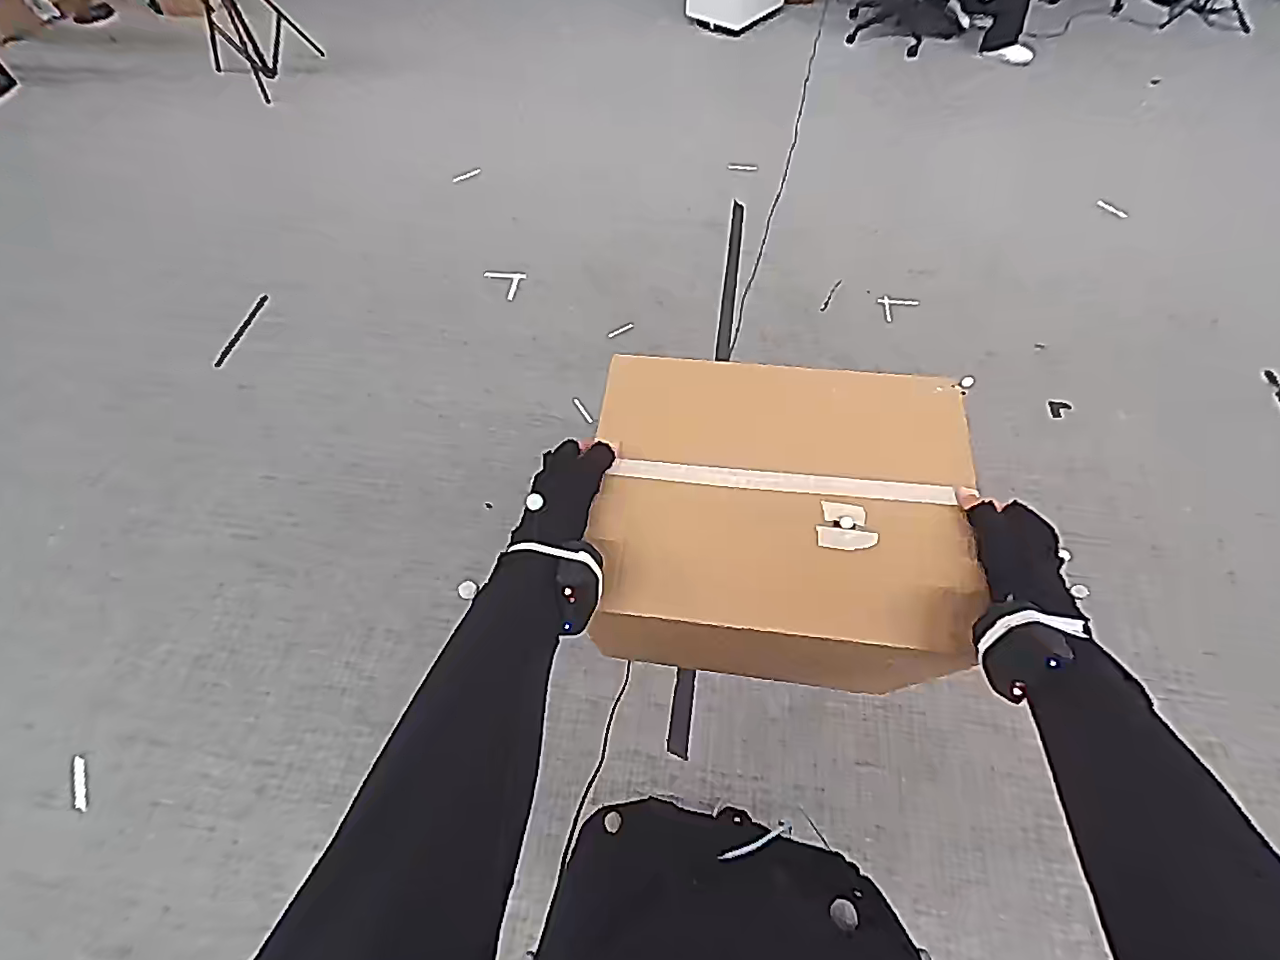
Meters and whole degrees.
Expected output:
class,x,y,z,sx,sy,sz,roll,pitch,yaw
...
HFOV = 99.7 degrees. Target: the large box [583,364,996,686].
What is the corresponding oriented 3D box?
class,x,y,z,sx,sy,sz,roll,pitch,yaw
large box,0.162,0.074,0.719,0.408,0.320,0.320,6,65,6
